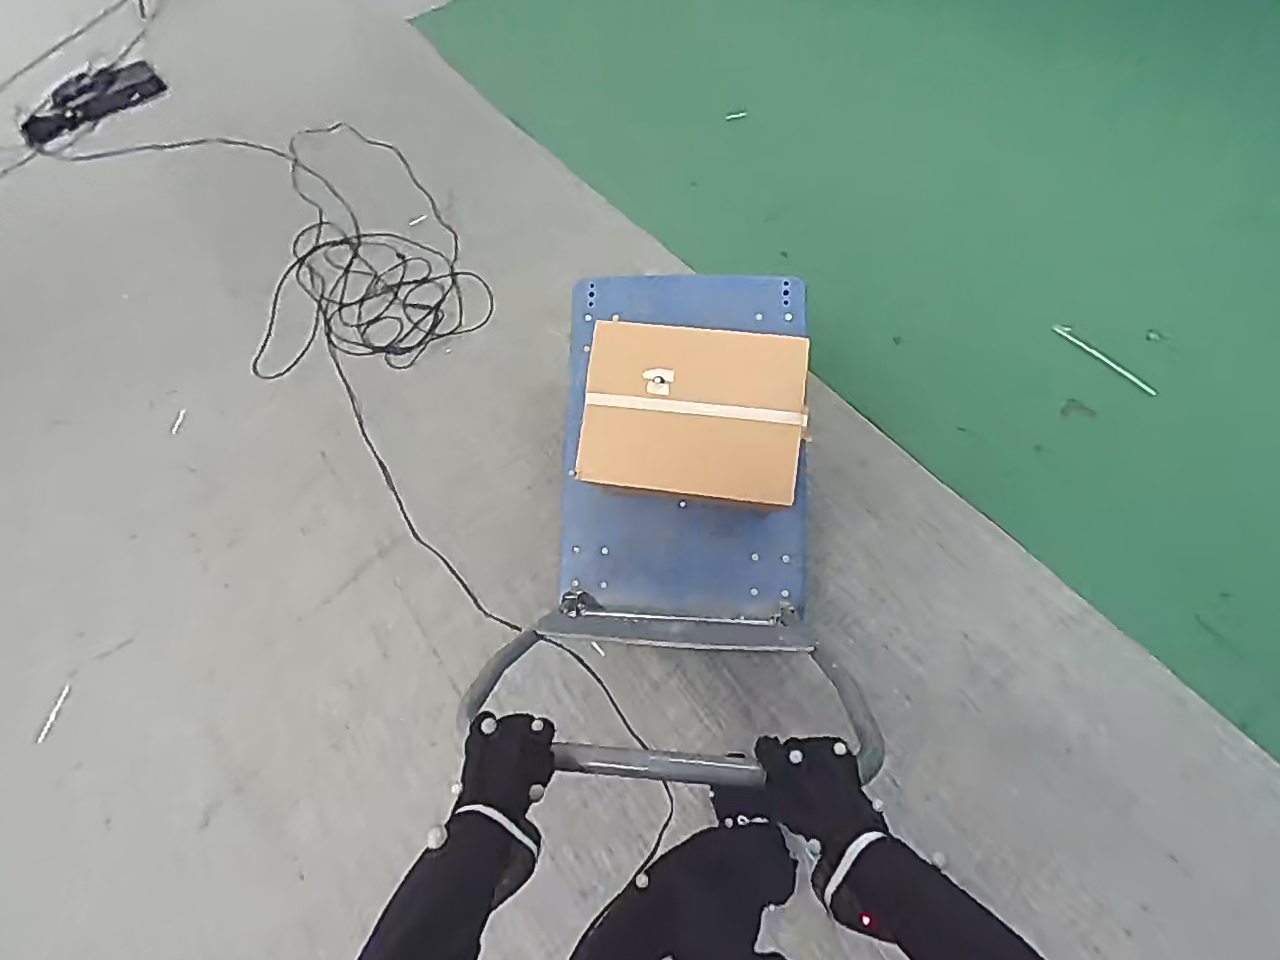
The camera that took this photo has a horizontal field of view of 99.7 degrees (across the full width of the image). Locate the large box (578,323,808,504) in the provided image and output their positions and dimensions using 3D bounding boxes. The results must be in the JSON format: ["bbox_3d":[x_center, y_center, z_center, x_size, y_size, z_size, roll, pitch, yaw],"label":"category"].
[{"bbox_3d":[0.115,-0.120,1.143,0.408,0.320,0.320,7,86,8],"label":"large box"}]
